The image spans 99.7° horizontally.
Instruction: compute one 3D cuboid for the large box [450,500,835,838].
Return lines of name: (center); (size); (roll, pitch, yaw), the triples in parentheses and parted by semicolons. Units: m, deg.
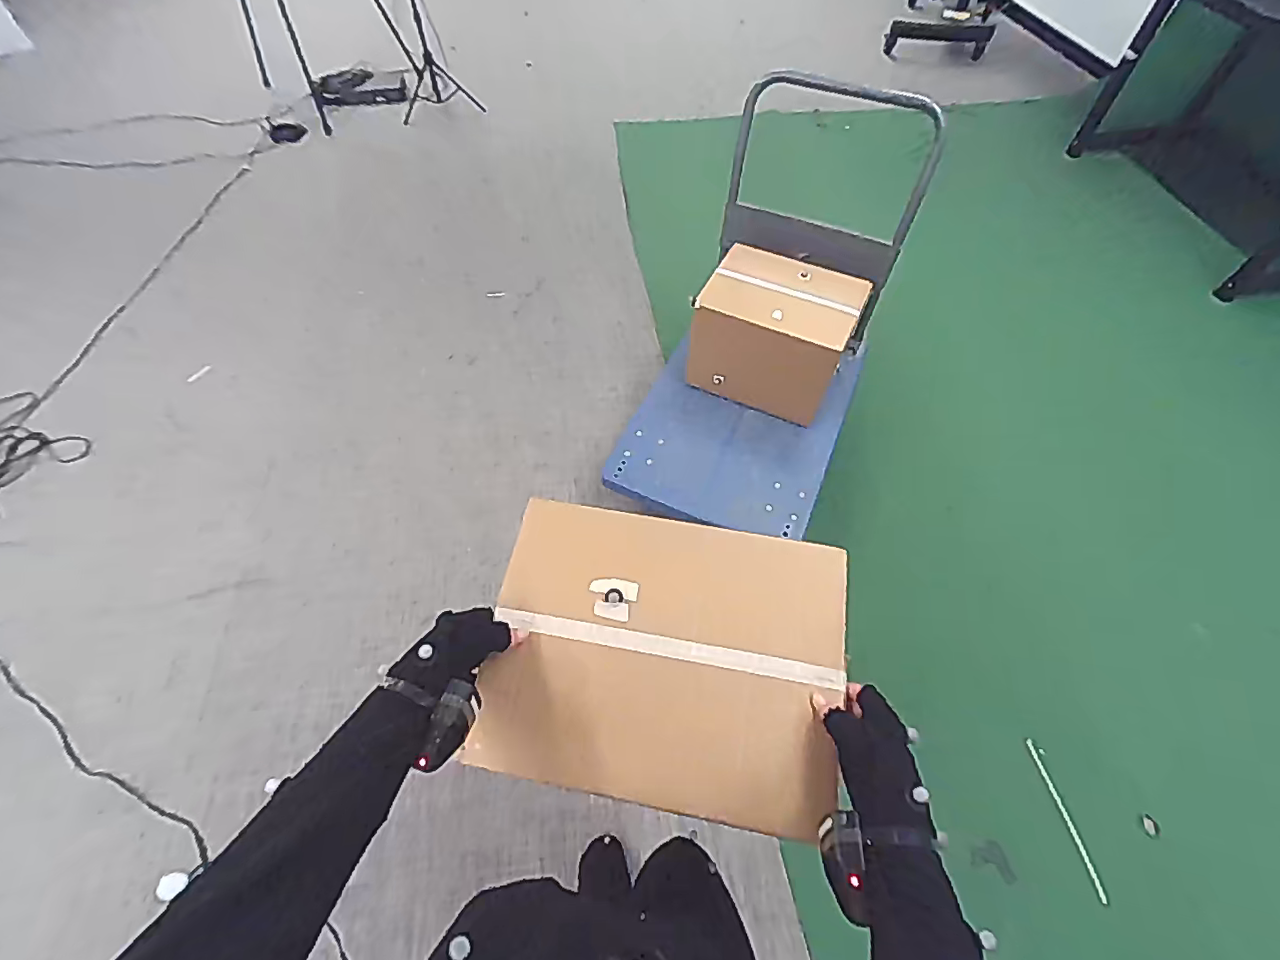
large box: (0.025, 0.250, 0.754); (0.408, 0.320, 0.320); (9, 66, 8)
